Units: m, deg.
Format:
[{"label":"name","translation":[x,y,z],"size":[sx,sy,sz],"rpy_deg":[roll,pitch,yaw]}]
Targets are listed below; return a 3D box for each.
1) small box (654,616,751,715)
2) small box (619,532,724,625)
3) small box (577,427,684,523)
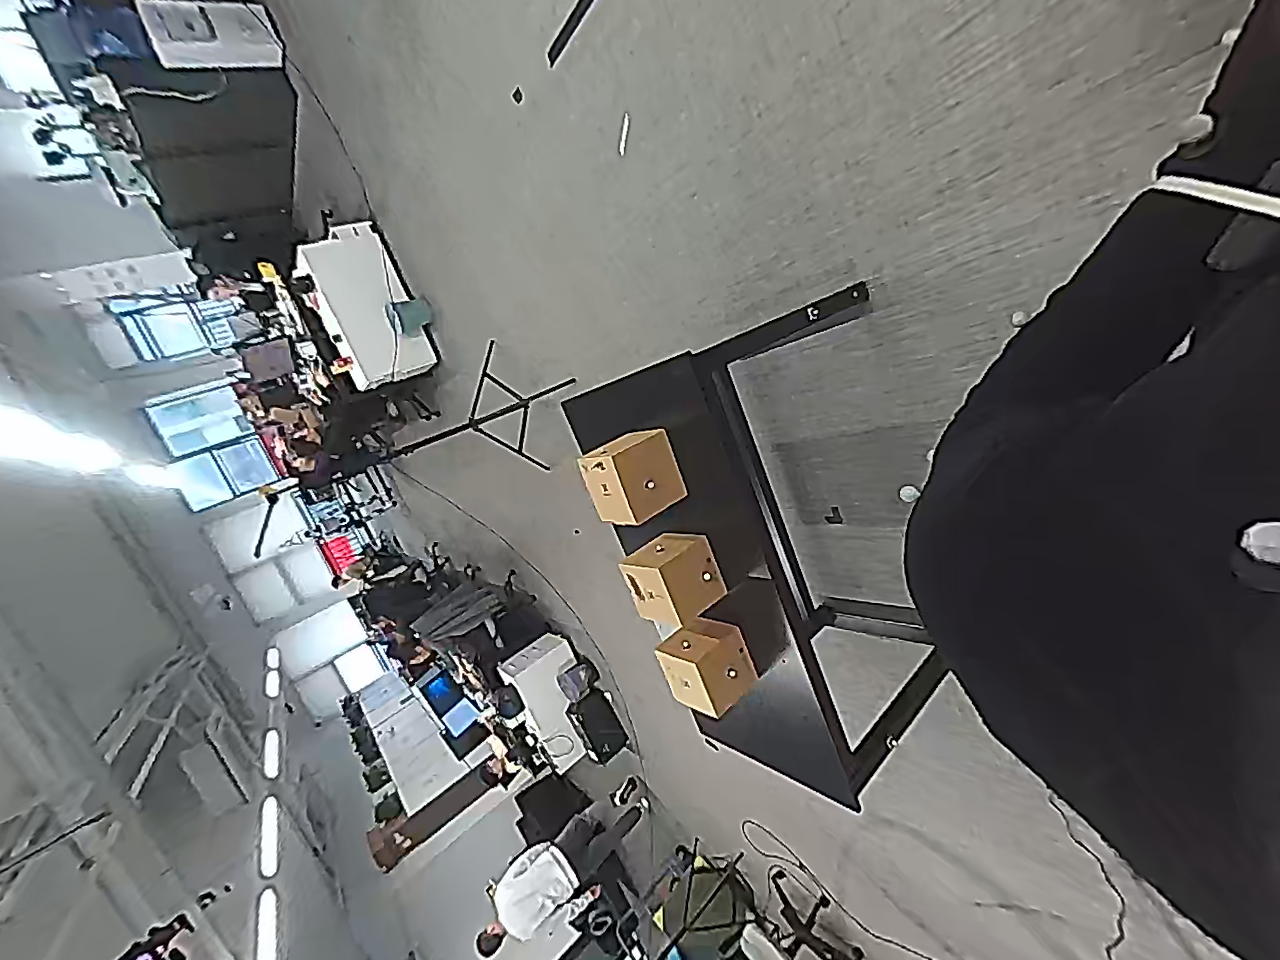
[{"label":"small box","translation":[0.174,0.483,1.439],"size":[0.179,0.176,0.168],"rpy_deg":[-4,110,56]},{"label":"small box","translation":[0.082,0.242,1.379],"size":[0.179,0.176,0.168],"rpy_deg":[-5,111,56]},{"label":"small box","translation":[-0.020,-0.014,1.321],"size":[0.168,0.176,0.179],"rpy_deg":[0,116,55]}]
